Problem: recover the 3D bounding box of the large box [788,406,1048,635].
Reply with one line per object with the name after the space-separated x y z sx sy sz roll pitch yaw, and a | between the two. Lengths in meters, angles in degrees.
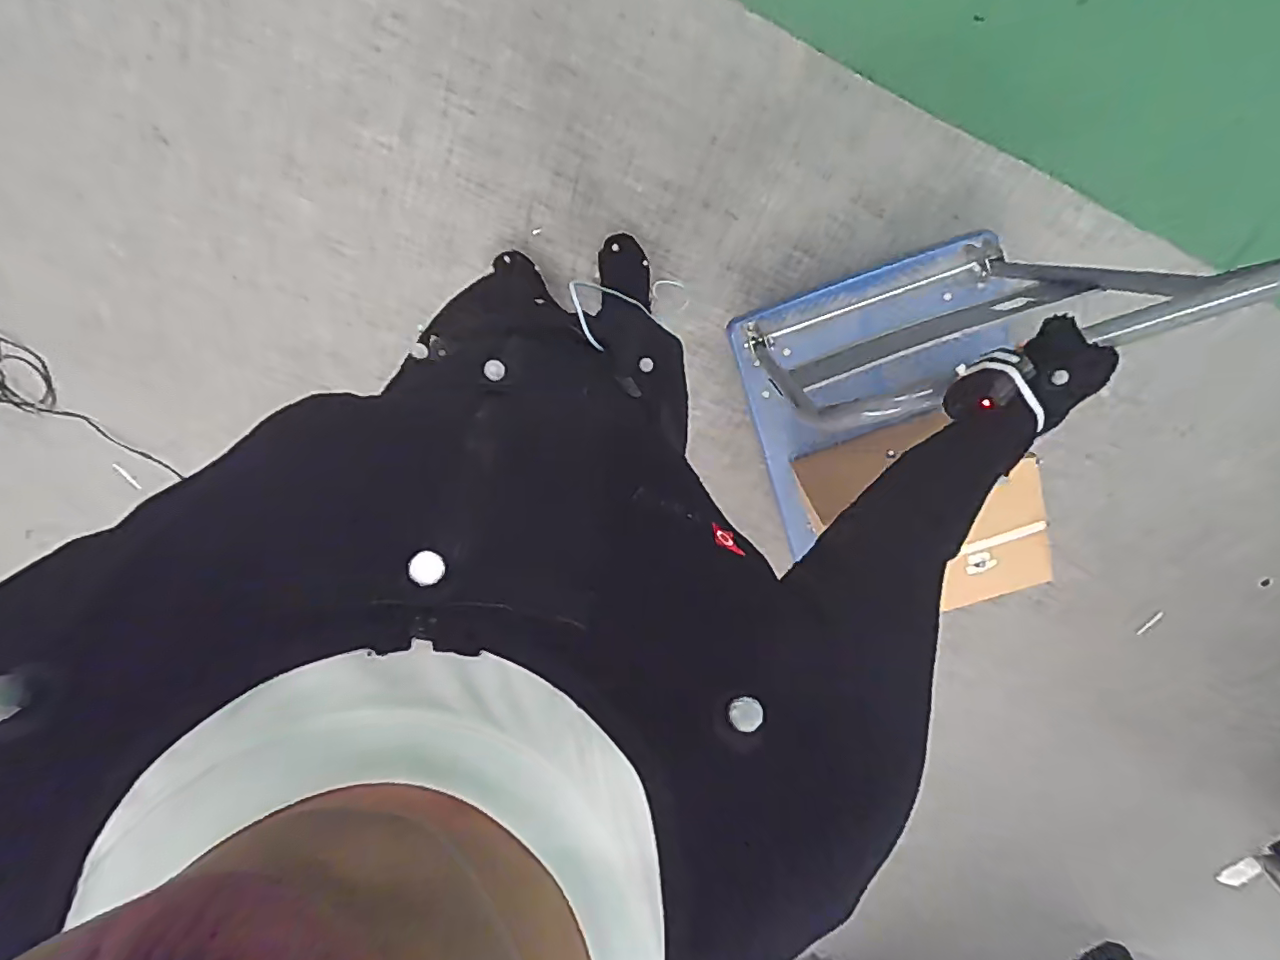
0.607 0.082 1.233 0.408 0.320 0.320 -22 115 10 | large box
